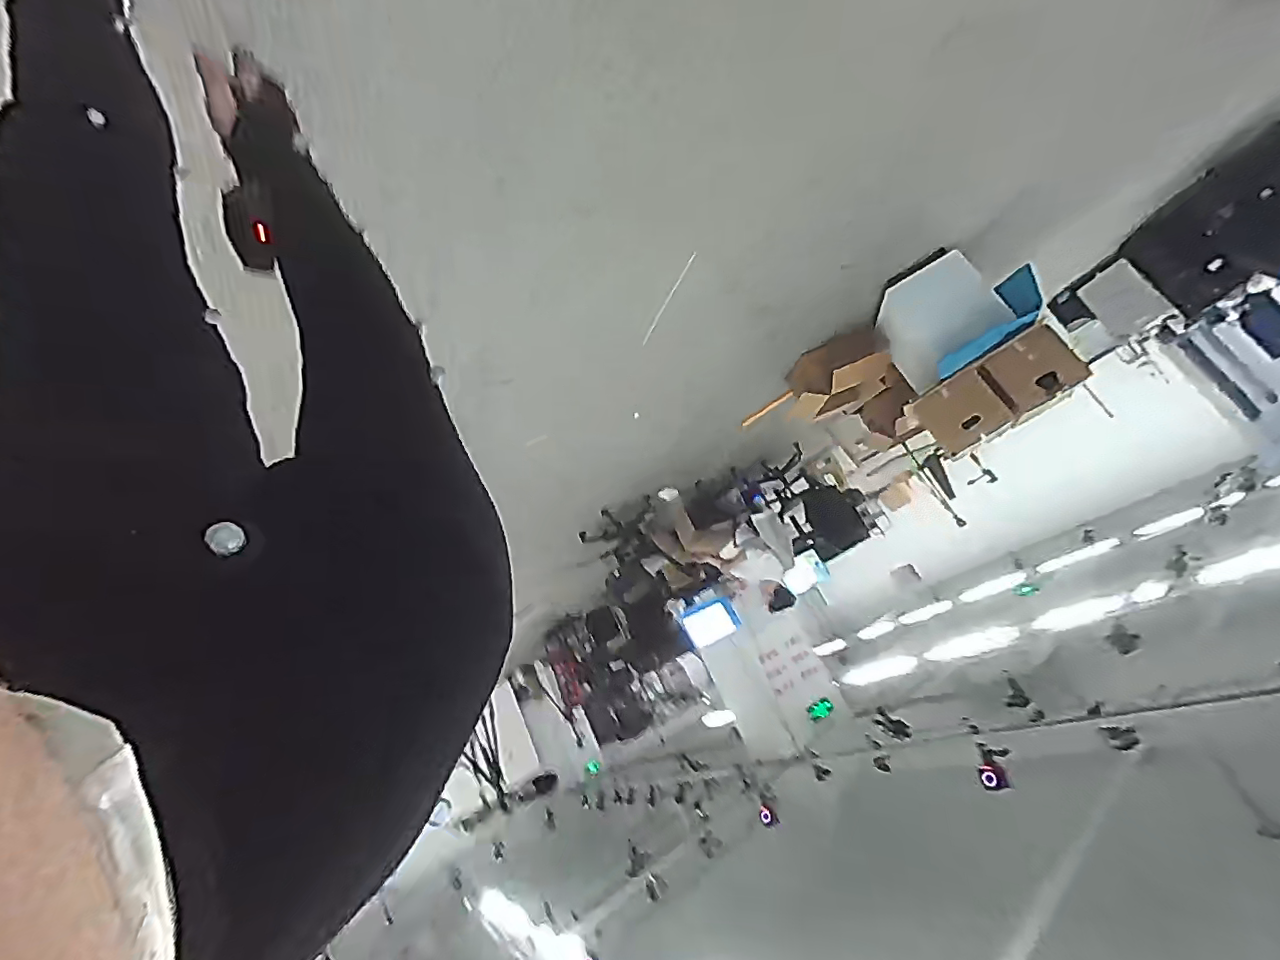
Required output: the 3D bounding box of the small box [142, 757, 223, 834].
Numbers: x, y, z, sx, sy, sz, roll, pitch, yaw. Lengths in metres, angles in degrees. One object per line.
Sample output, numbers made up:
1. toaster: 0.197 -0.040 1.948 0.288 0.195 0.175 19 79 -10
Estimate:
1. small box: -1.532 1.057 1.816 0.168 0.176 0.179 -16 158 -34
